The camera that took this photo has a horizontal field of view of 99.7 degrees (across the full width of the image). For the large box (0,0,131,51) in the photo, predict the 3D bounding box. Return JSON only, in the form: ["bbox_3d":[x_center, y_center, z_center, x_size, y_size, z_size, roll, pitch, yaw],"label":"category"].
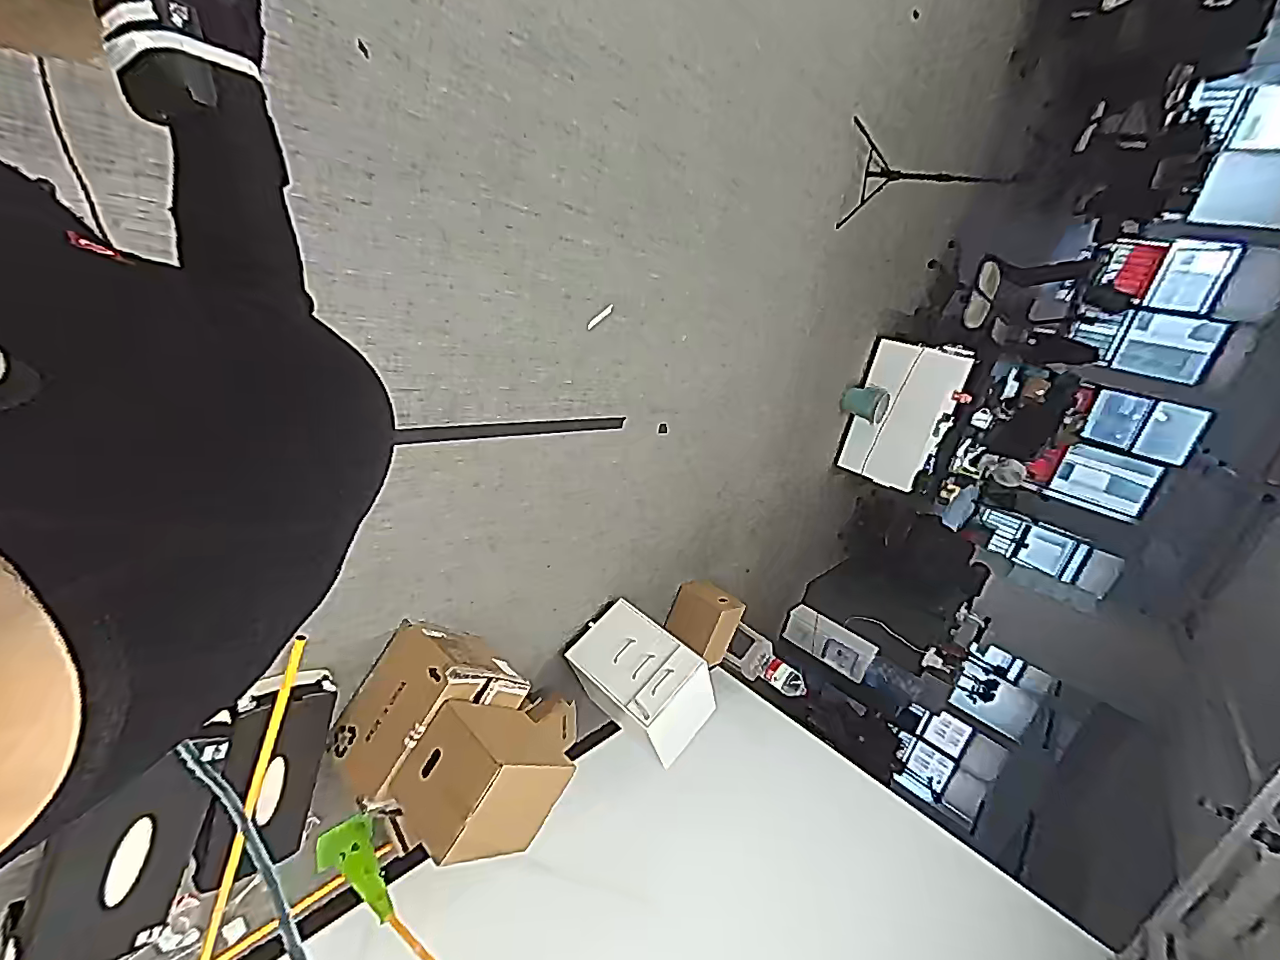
[{"bbox_3d":[-0.568,-0.462,0.255,0.408,0.320,0.320,-24,127,-46],"label":"large box"}]
